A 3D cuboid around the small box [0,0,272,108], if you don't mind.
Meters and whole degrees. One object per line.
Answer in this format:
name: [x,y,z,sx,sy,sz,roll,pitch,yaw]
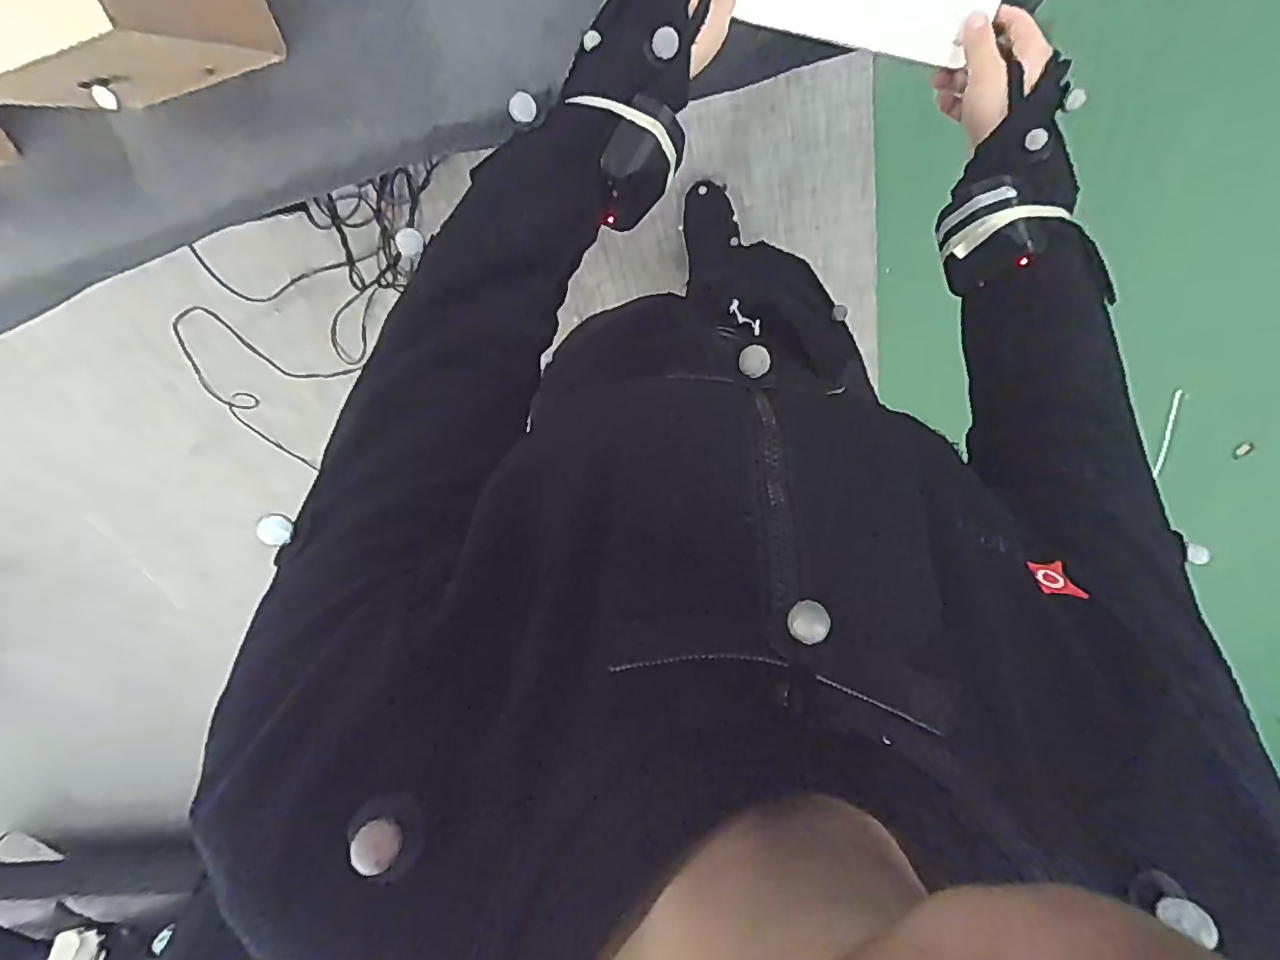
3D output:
small box: [-0.400,-0.365,0.357,0.168,0.176,0.179,-8,121,11]
